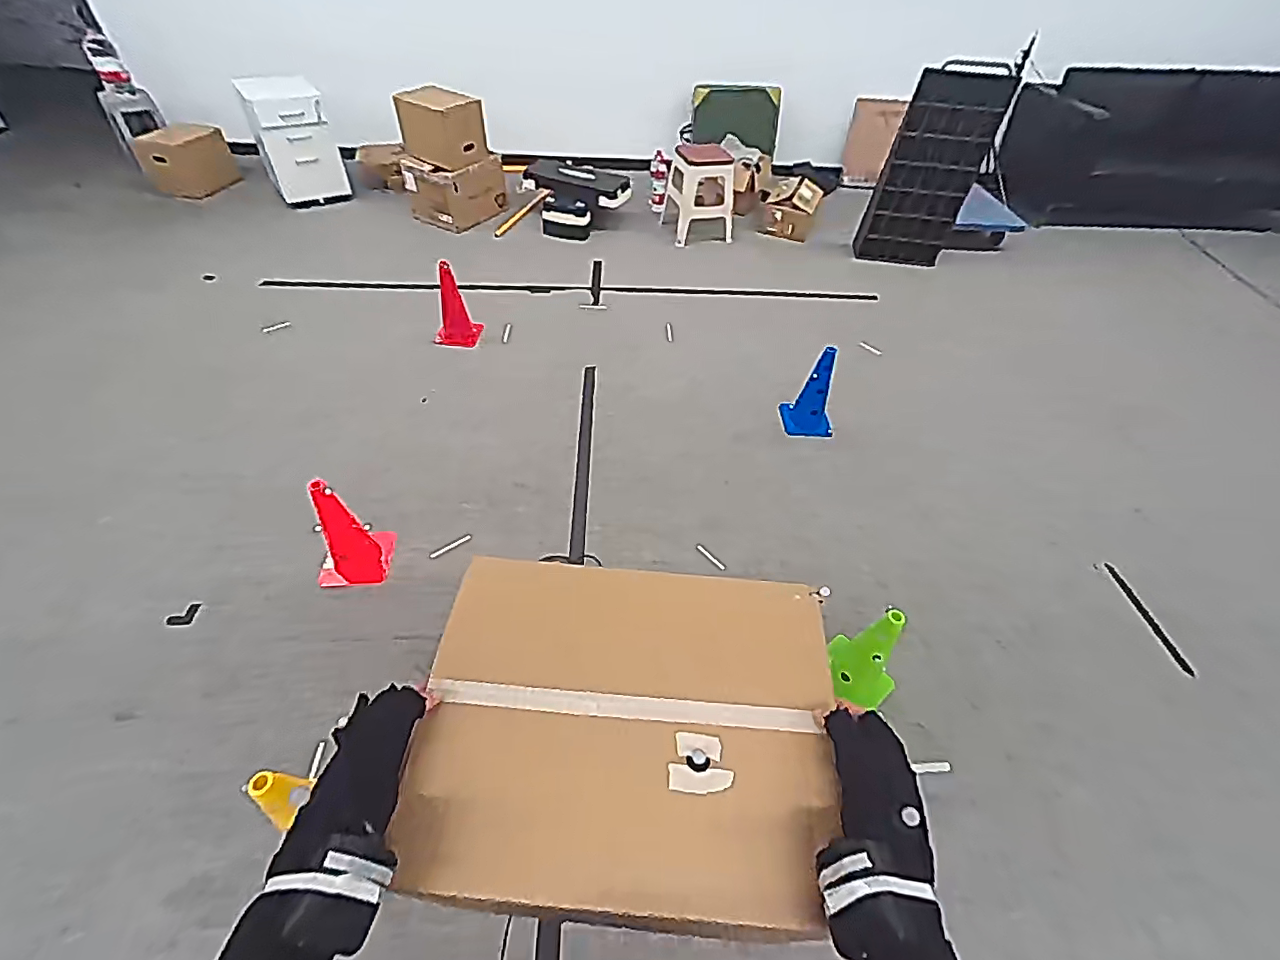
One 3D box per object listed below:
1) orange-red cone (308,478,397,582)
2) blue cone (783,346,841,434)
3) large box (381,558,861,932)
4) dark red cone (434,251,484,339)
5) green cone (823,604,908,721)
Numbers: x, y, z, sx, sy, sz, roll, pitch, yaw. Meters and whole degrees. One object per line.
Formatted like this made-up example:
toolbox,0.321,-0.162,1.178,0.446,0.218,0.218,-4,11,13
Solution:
orange-red cone,-0.889,0.126,1.603,0.198,0.360,0.199,-2,49,-4
blue cone,0.725,-0.373,2.192,0.192,0.380,0.193,4,47,-2
large box,-0.014,0.320,0.647,0.408,0.320,0.320,5,49,2
dark red cone,-0.853,-0.845,2.468,0.201,0.394,0.202,6,47,0
green cone,0.604,0.438,1.412,0.202,0.368,0.200,-29,56,-28
